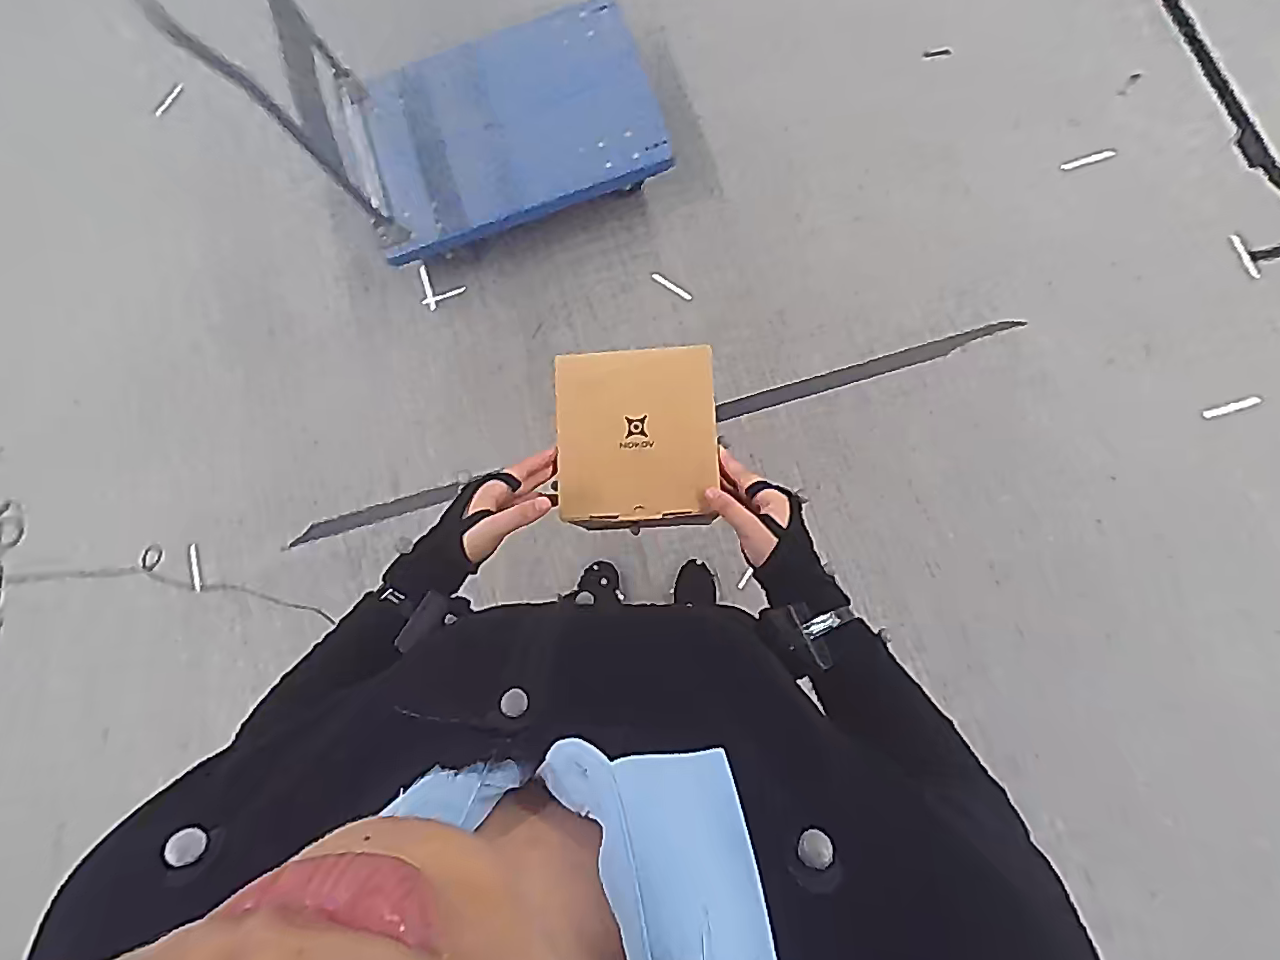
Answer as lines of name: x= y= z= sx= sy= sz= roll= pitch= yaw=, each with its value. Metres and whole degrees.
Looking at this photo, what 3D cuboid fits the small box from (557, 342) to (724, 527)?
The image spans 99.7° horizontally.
small box: x=0.002 y=-0.041 z=0.624 sx=0.168 sy=0.176 sz=0.179 roll=-4 pitch=83 yaw=3
